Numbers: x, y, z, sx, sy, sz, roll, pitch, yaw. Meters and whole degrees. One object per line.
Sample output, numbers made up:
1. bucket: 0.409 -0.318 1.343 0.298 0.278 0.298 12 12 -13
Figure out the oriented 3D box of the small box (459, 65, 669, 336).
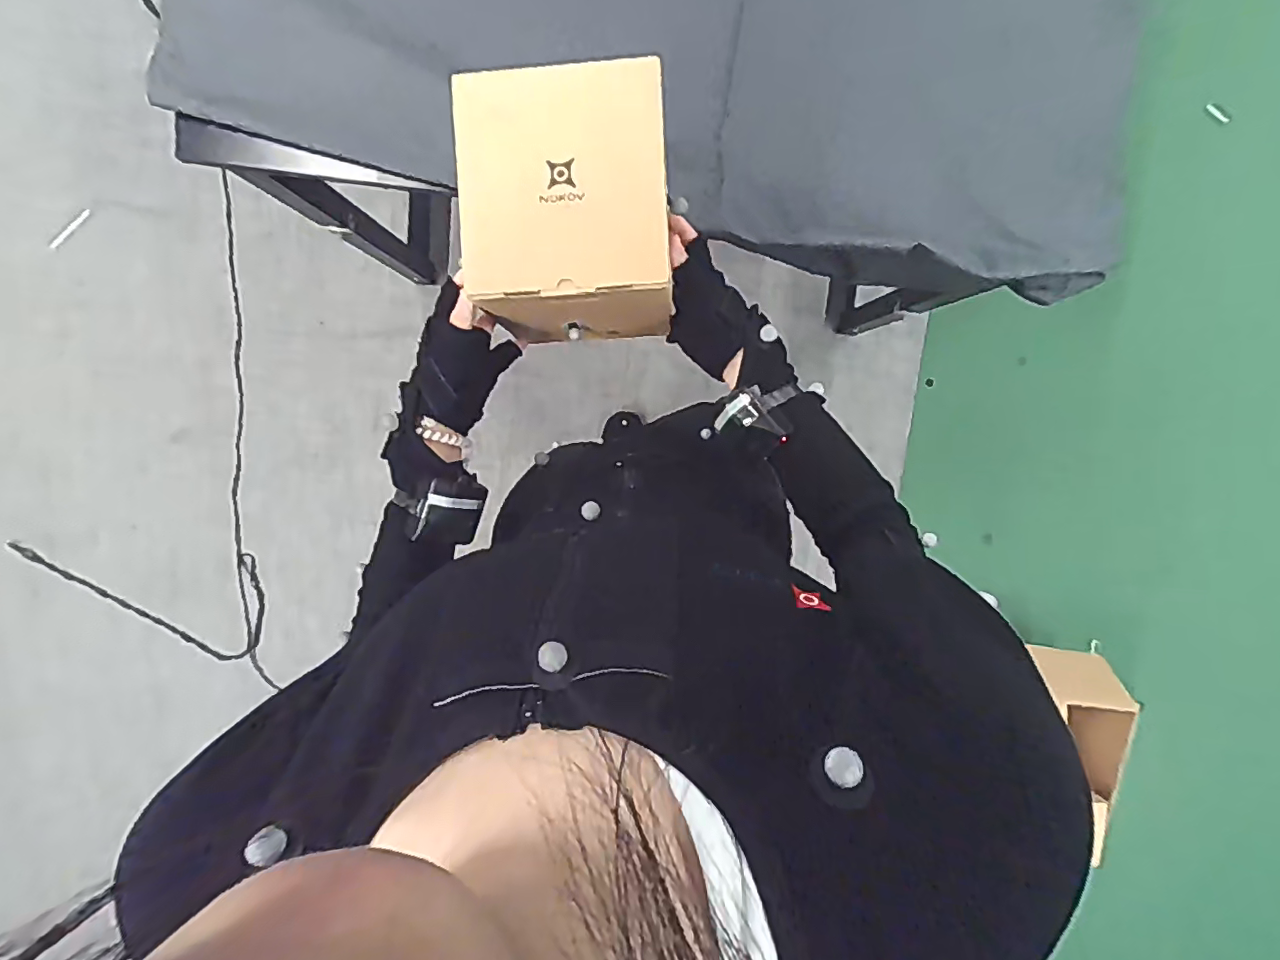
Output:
1. small box: -0.059 -0.246 0.517 0.168 0.176 0.179 -3 94 3
